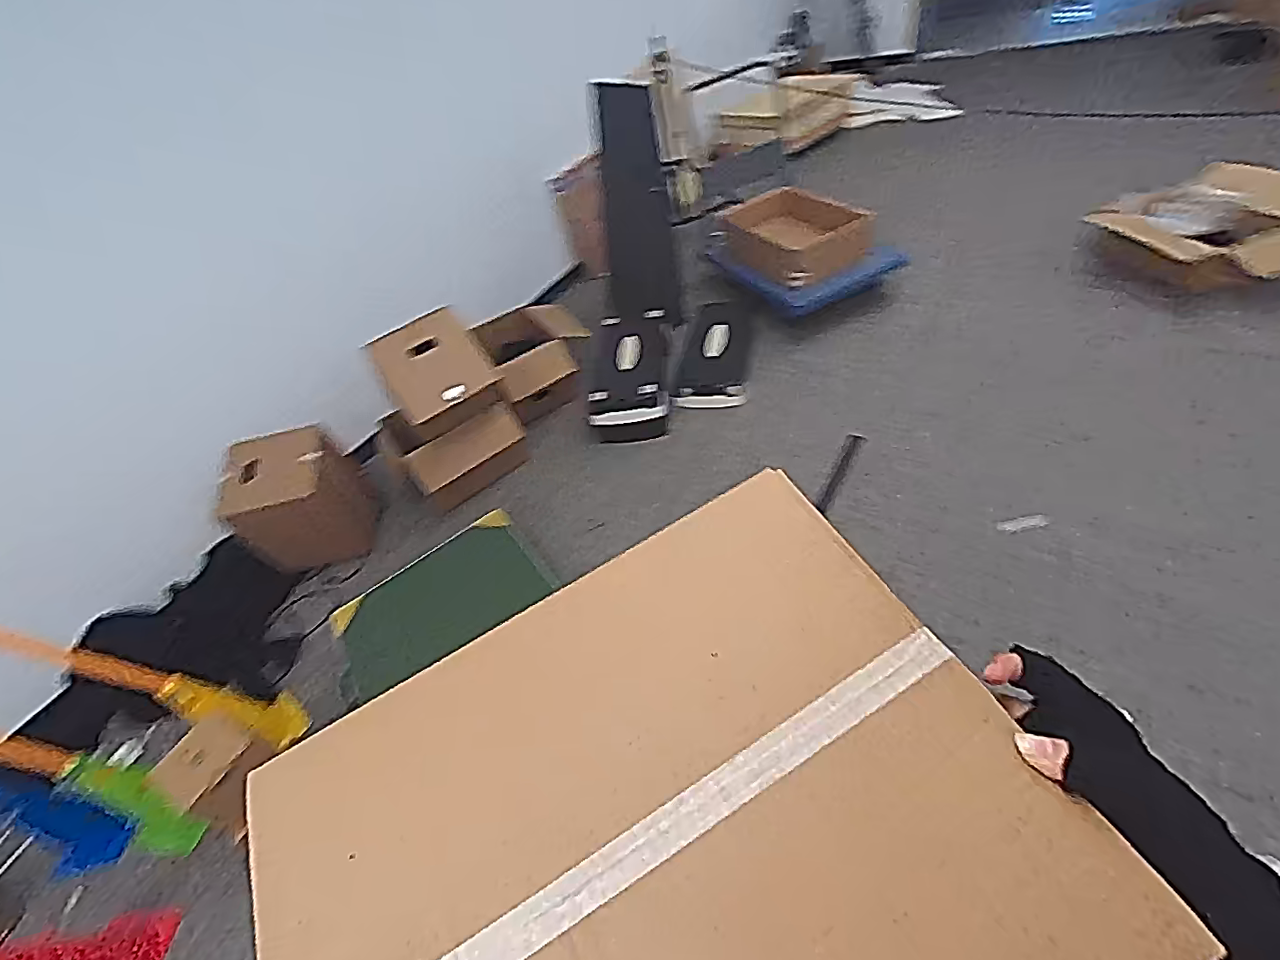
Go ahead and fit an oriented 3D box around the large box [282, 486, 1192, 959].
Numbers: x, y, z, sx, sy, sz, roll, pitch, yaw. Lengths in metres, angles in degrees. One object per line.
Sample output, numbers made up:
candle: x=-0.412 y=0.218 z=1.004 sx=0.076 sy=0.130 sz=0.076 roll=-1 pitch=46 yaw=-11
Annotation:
large box: x=0.036 y=0.282 z=0.417 sx=0.408 sy=0.320 sz=0.320 roll=-29 pitch=55 yaw=-7
